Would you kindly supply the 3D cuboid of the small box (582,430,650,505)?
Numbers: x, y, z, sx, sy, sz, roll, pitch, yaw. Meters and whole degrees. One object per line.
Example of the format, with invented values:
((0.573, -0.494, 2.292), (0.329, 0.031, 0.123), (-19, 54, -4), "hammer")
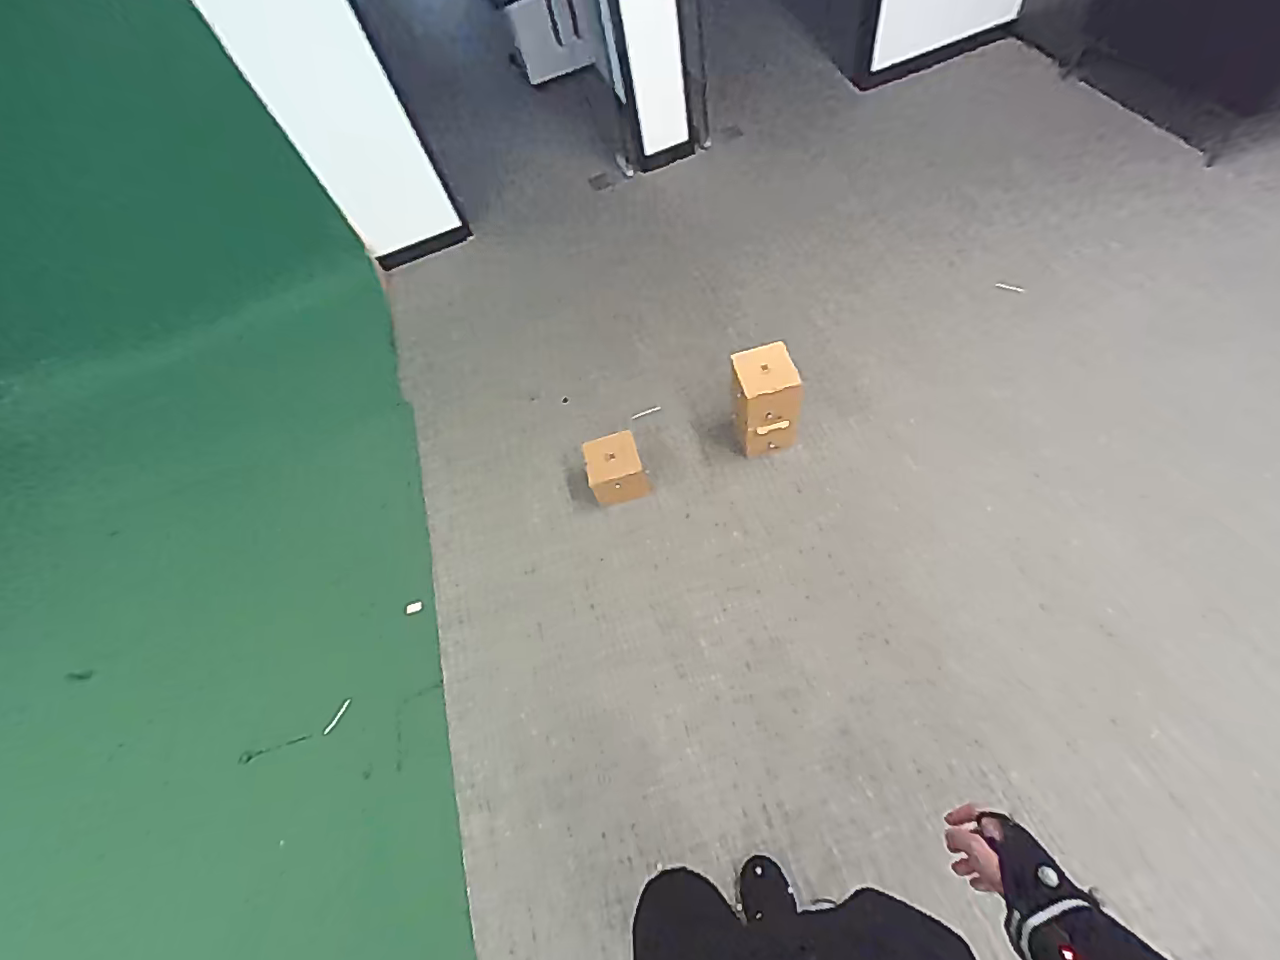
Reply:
((-0.079, -0.035, 1.799), (0.179, 0.176, 0.168), (-16, 60, 2), "small box")

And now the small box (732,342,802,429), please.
((0.381, -0.286, 1.656), (0.168, 0.176, 0.179), (-15, 60, 2), "small box")

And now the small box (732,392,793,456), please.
((0.403, -0.204, 1.792), (0.168, 0.176, 0.179), (-12, 60, 7), "small box")
